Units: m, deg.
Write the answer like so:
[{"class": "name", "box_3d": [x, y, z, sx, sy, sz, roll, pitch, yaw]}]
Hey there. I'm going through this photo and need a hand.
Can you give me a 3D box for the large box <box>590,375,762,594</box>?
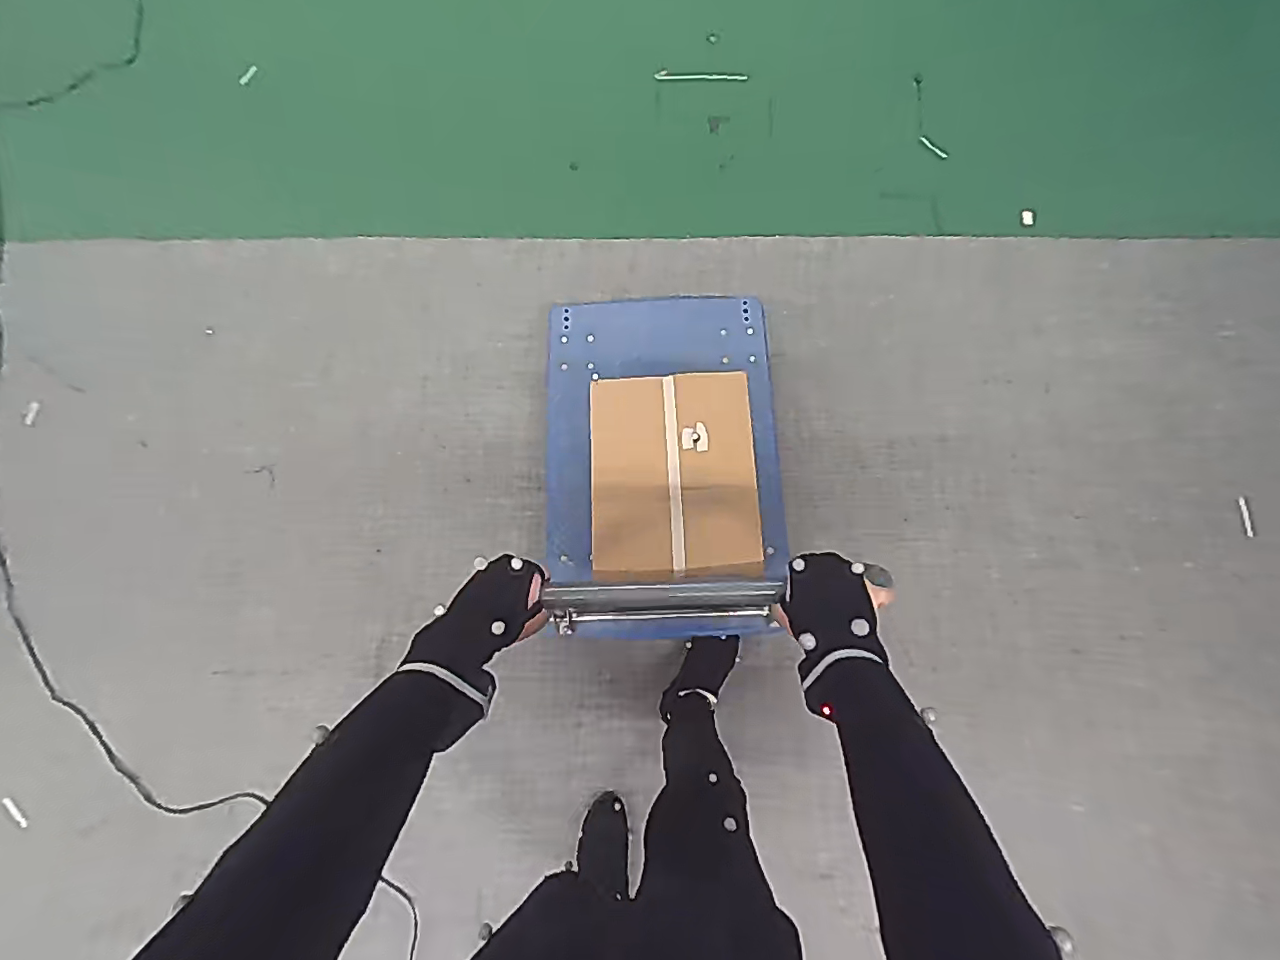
[{"class": "large box", "box_3d": [0.069, 0.028, 1.184, 0.320, 0.320, 0.408, -3, 74, 2]}]
